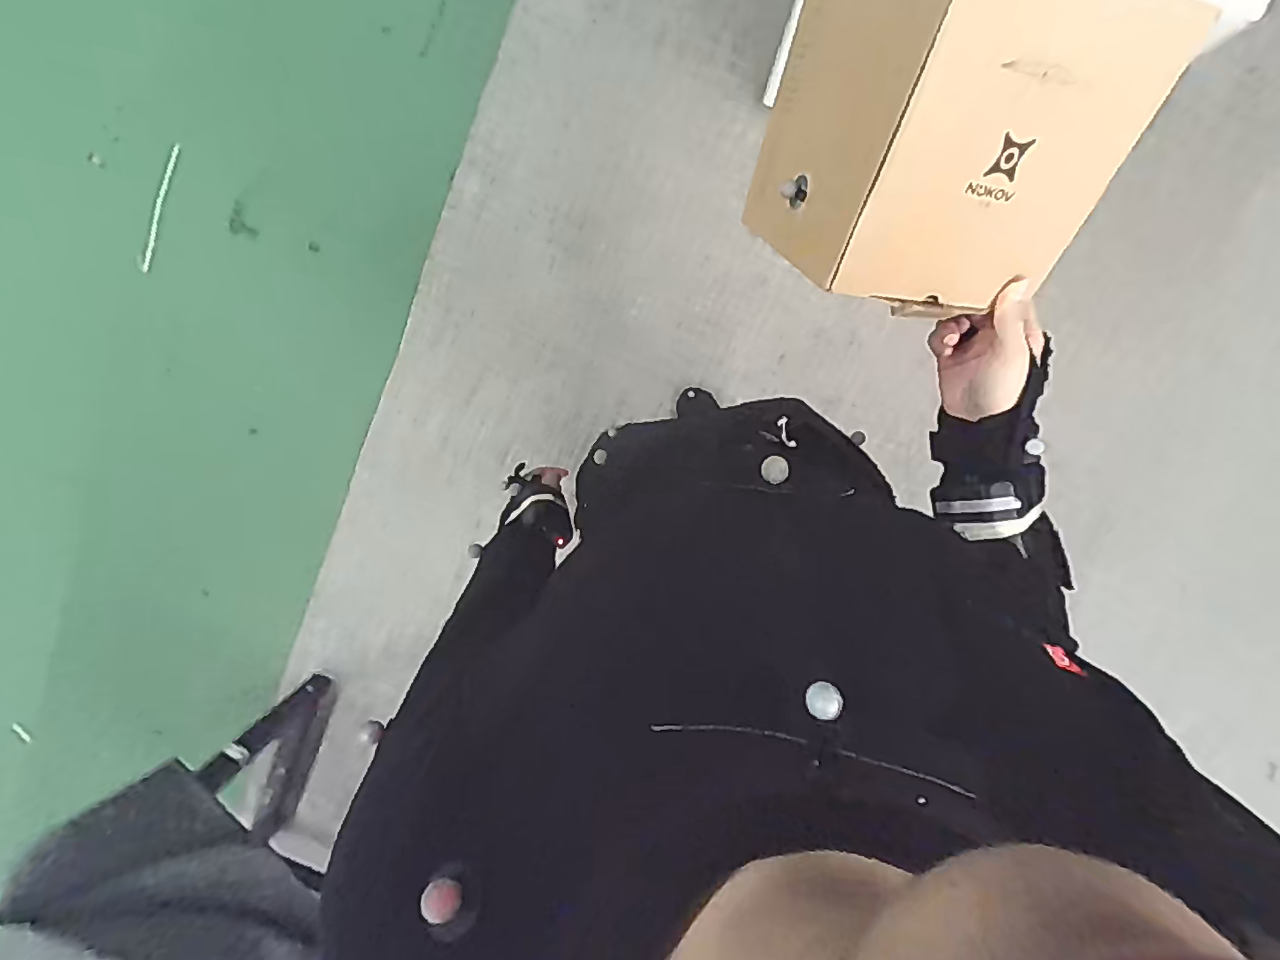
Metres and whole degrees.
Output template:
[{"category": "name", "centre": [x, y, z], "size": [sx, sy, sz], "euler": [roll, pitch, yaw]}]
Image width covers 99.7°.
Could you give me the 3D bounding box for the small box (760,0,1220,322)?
[{"category": "small box", "centre": [0.202, -0.234, 0.379], "size": [0.168, 0.176, 0.179], "euler": [1, 129, -16]}]
